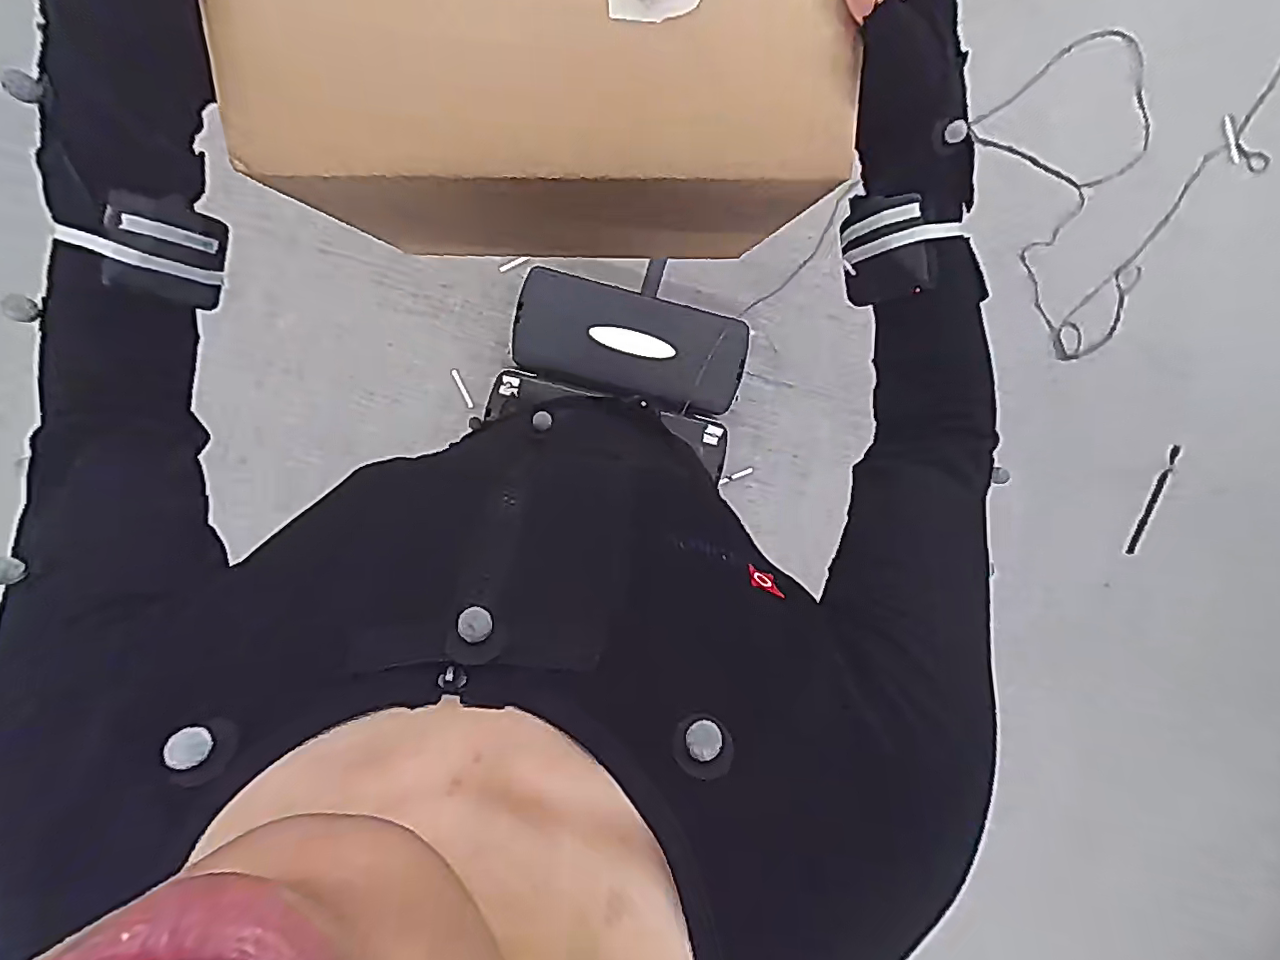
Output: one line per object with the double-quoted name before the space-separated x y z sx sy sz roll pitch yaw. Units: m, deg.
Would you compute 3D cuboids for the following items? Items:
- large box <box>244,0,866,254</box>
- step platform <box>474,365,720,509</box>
"large box" -0.060 -0.393 0.478 0.408 0.320 0.320 -1 104 -4
"step platform" -0.118 -0.121 1.561 0.684 0.204 0.286 12 98 -5
